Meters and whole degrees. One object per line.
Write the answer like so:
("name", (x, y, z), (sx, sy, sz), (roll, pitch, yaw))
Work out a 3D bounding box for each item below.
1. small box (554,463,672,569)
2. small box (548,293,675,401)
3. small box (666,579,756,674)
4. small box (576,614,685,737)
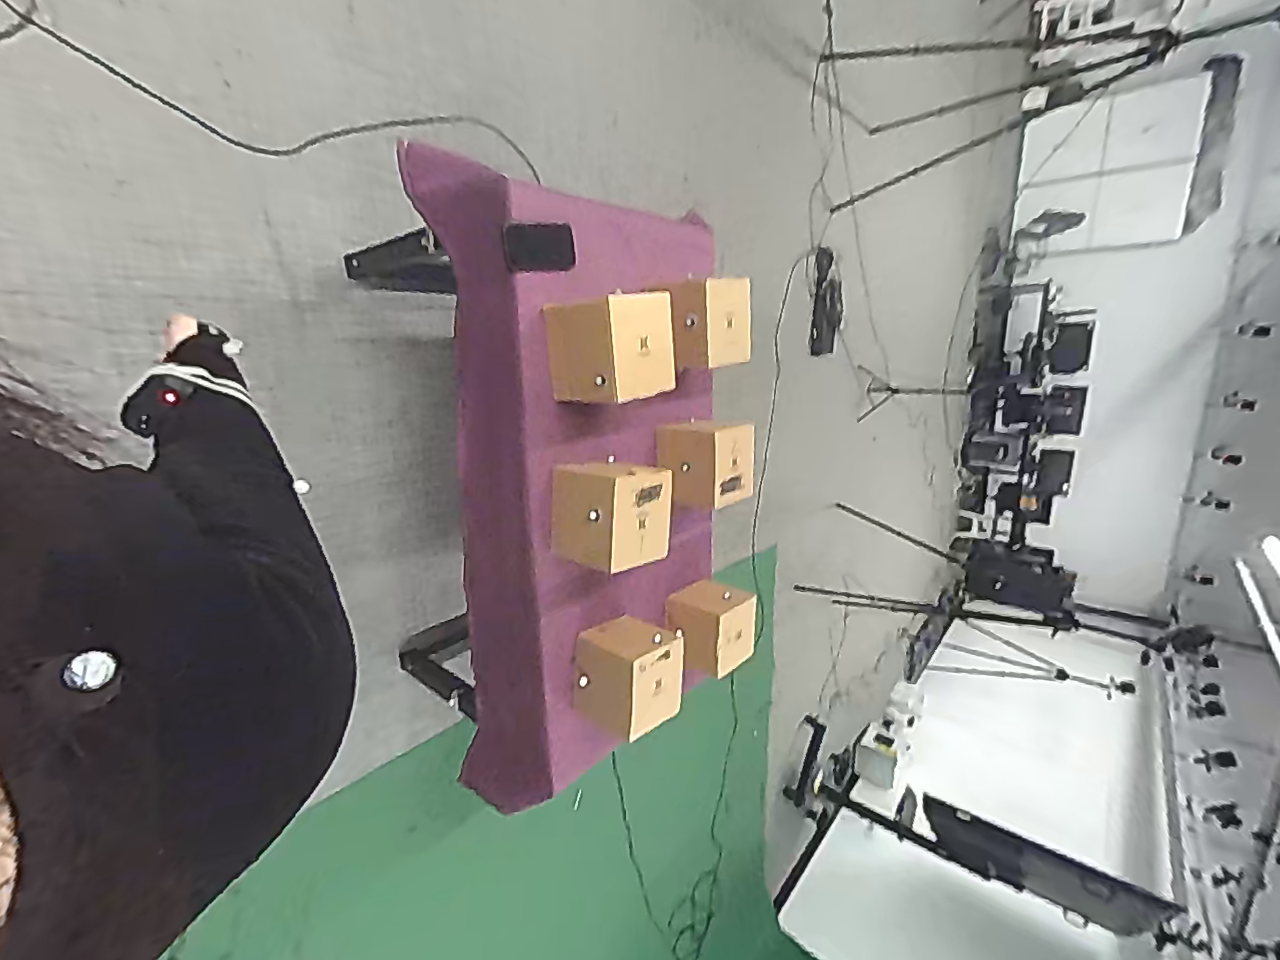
("small box", (-0.055, 0.060, 1.067), (0.168, 0.176, 0.179), (-7, 104, -49))
("small box", (-0.054, -0.248, 1.008), (0.168, 0.176, 0.179), (-24, 116, -45))
("small box", (0.183, 0.371, 1.408), (0.179, 0.176, 0.168), (-11, 105, -47))
("small box", (-0.023, 0.413, 1.175), (0.168, 0.176, 0.179), (-6, 102, -49))
